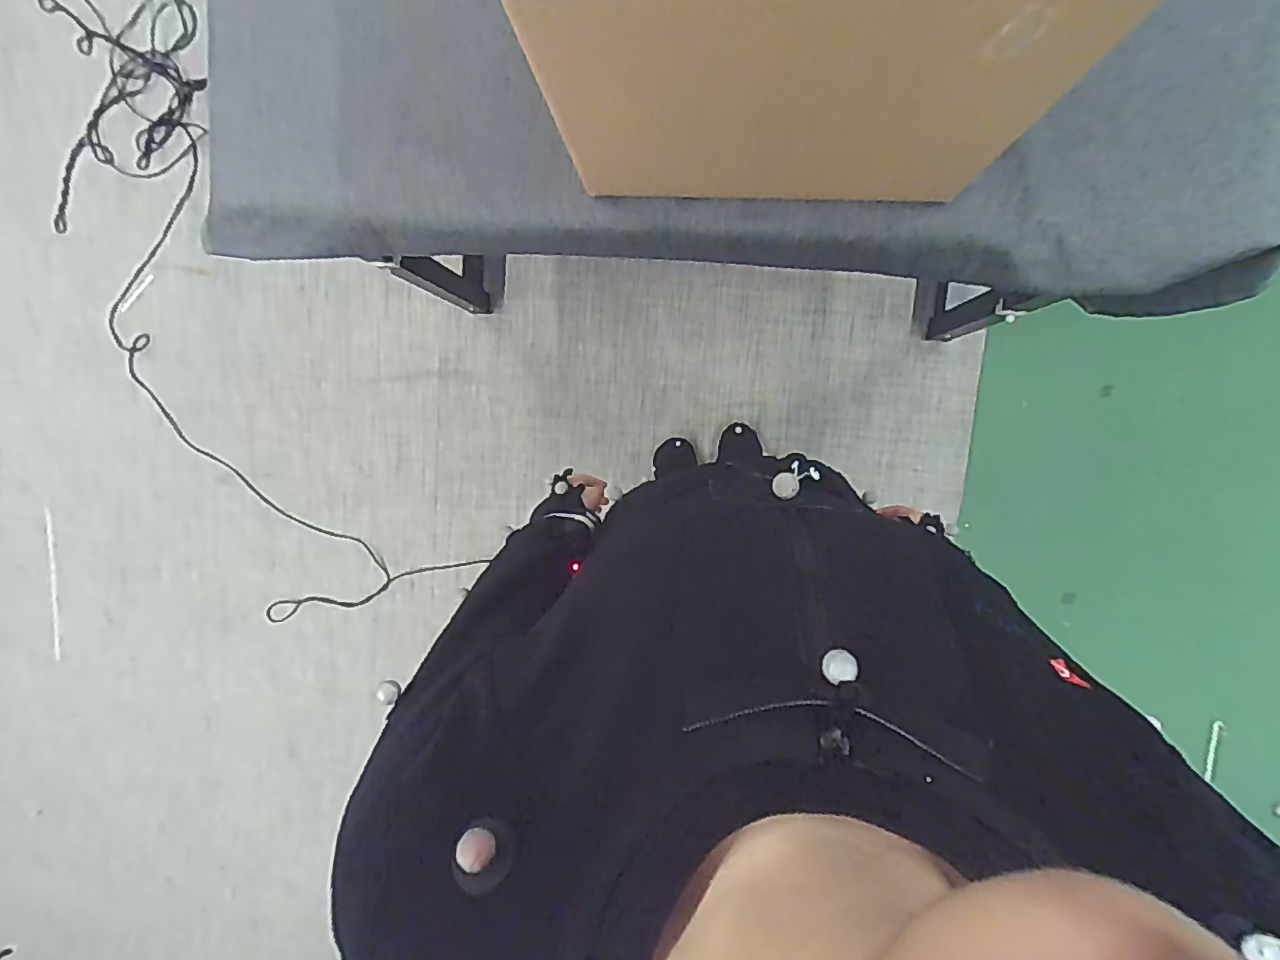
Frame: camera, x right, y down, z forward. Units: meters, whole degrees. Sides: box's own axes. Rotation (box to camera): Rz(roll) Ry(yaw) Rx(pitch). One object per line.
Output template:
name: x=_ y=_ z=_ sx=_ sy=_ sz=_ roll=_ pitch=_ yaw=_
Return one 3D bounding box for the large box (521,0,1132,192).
large box: x=0.130 y=-0.464 z=0.447 sx=0.408 sy=0.320 sz=0.320 roll=3 pitch=95 yaw=5
